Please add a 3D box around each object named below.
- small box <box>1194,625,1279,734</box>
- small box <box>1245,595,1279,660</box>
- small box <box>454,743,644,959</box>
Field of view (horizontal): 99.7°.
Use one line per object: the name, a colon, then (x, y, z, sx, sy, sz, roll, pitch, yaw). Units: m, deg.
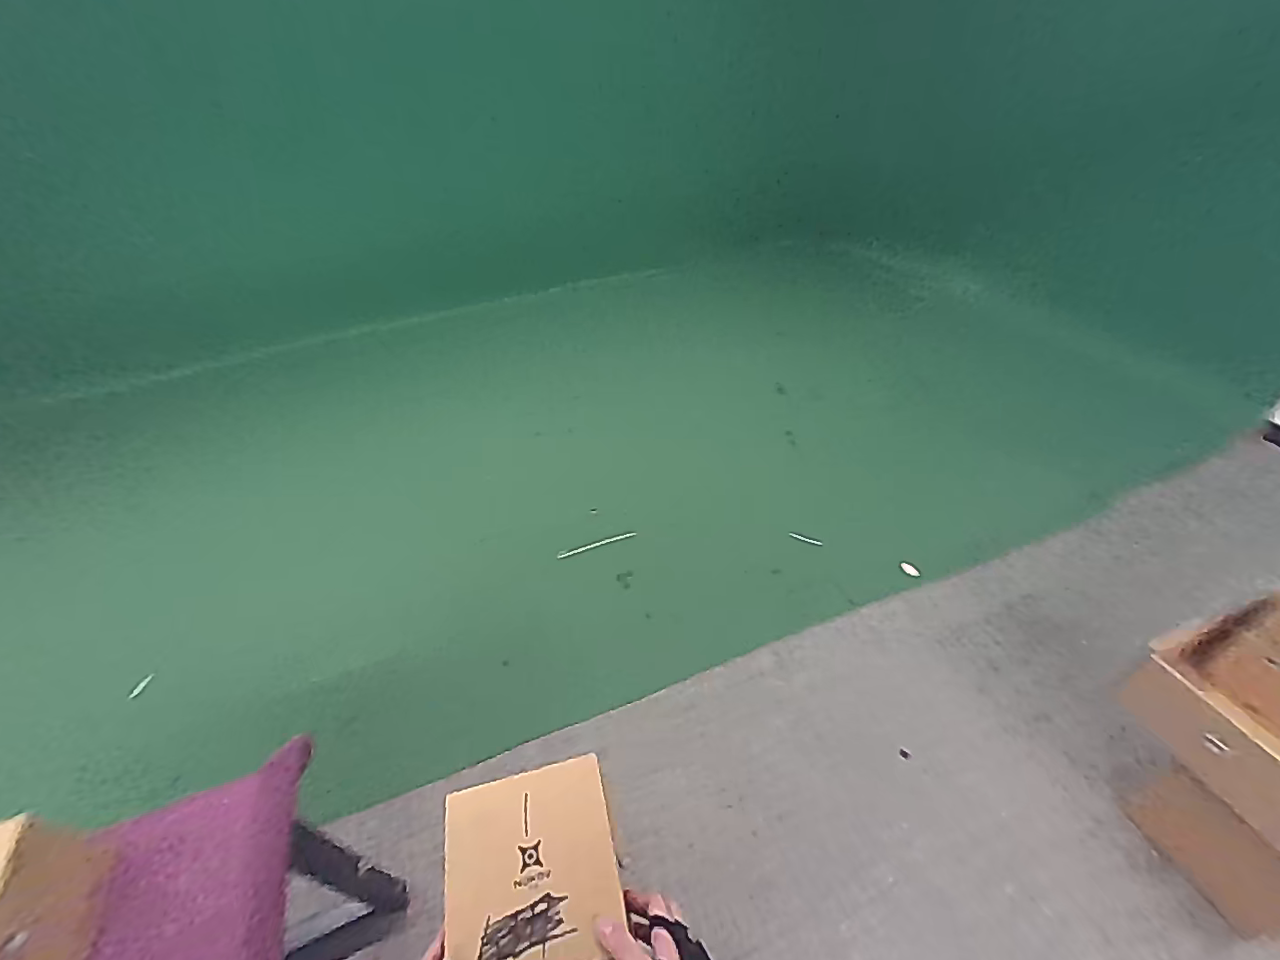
small box: (1.343, 0.396, 1.131, 0.179, 0.176, 0.168, -16, 43, -12)
small box: (1.333, 0.275, 1.020, 0.179, 0.176, 0.168, -14, 42, -10)
small box: (-0.093, 0.420, 0.585, 0.168, 0.176, 0.179, -10, 44, -7)
